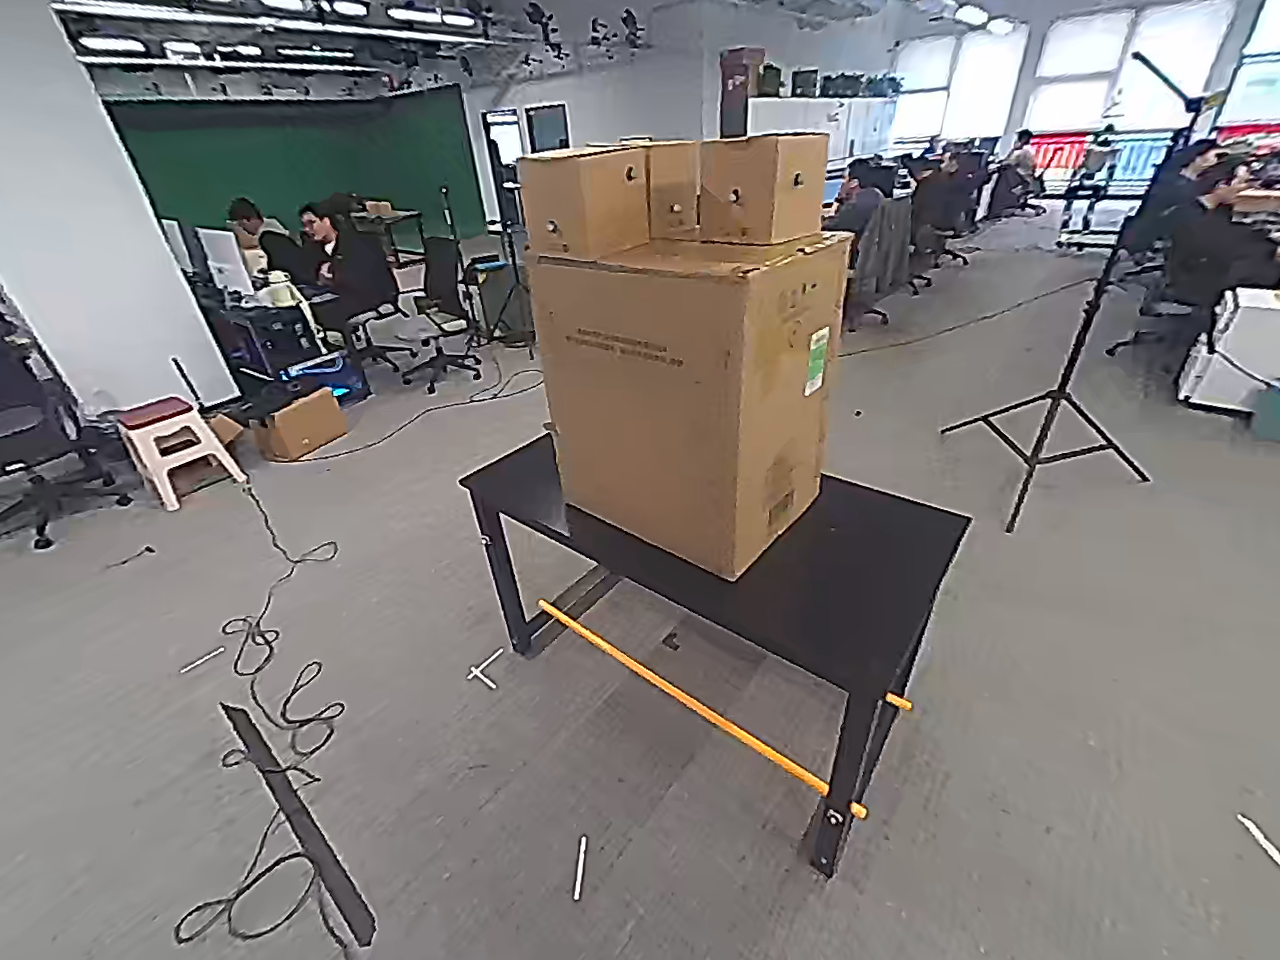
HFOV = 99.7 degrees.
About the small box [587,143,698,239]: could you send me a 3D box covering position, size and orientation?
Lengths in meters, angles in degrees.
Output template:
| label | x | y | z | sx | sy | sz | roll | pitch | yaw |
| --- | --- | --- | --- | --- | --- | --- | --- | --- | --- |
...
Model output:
| label | x | y | z | sx | sy | sz | roll | pitch | yaw |
| --- | --- | --- | --- | --- | --- | --- | --- | --- | --- |
| small box | 0.007 | -0.620 | 1.159 | 0.179 | 0.176 | 0.168 | 23 | 41 | 34 |
